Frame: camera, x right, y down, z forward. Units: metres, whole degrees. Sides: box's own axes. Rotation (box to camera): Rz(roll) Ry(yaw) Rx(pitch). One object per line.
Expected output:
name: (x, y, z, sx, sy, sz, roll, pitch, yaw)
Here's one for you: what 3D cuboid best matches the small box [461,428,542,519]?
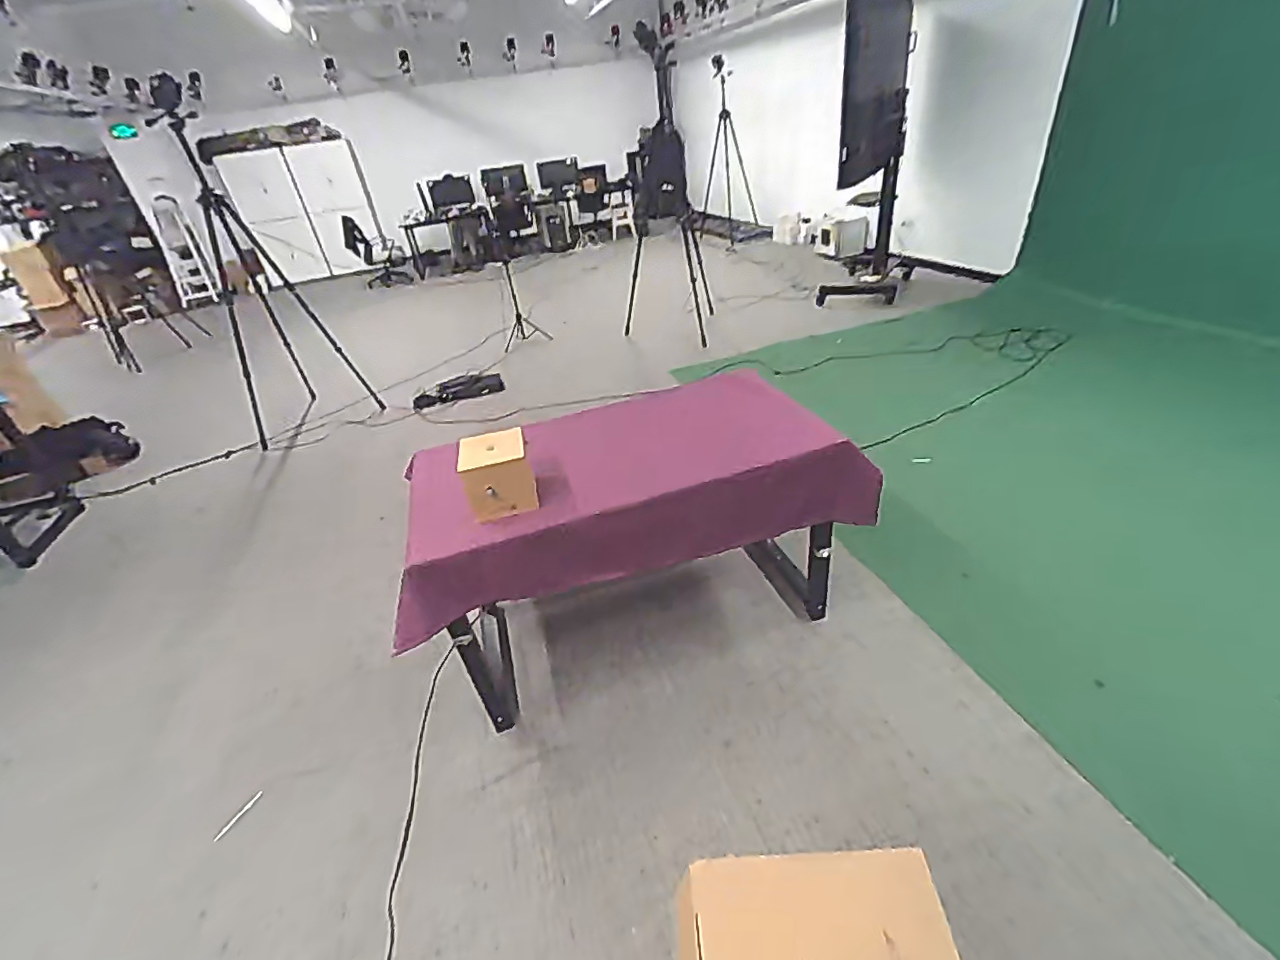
small box: (-0.365, -0.012, 1.438, 0.168, 0.176, 0.179, -14, 32, -7)
